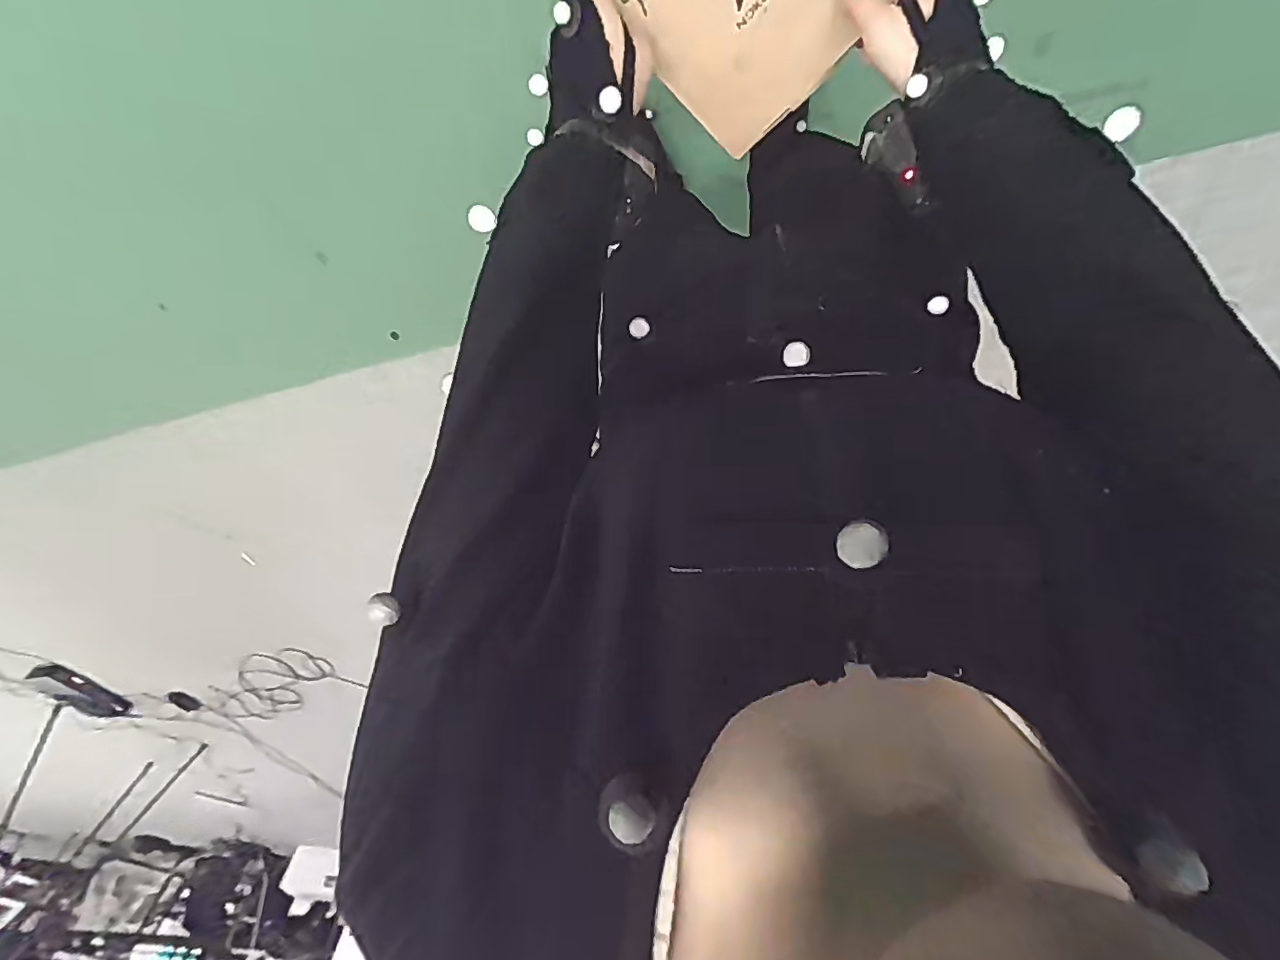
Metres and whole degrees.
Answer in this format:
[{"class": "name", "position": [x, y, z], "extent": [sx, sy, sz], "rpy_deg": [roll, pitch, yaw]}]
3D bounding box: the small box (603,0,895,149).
[{"class": "small box", "position": [0.087, -0.437, 0.449], "extent": [0.179, 0.176, 0.168], "rpy_deg": [28, 138, -32]}]
